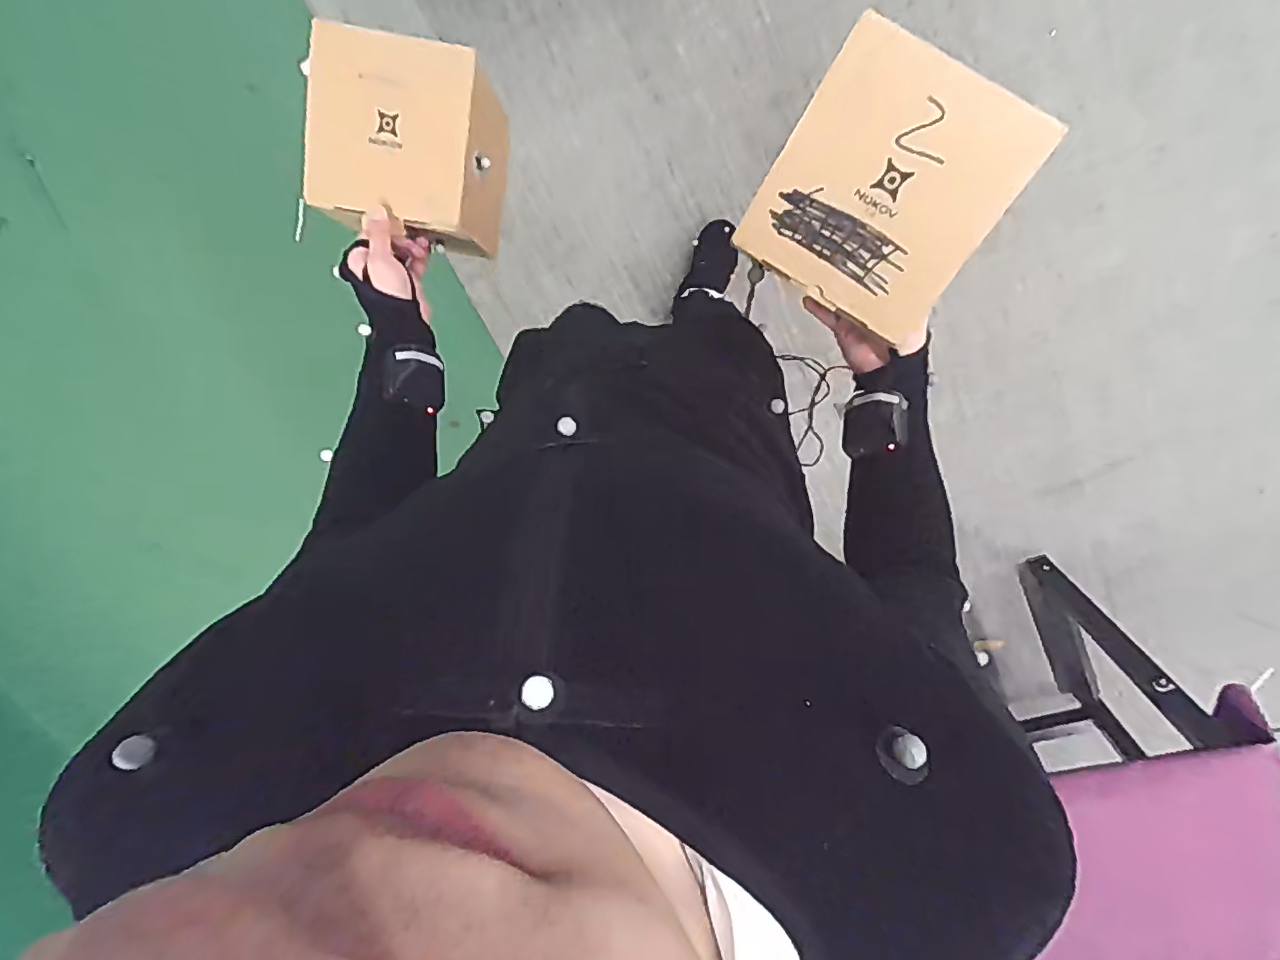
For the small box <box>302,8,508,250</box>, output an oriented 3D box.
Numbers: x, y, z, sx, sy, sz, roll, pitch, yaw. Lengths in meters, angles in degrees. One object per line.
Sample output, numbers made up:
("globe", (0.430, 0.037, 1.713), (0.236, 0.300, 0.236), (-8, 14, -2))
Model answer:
("small box", (-0.260, -0.386, 0.632), (0.168, 0.176, 0.179), (10, 101, -3))
